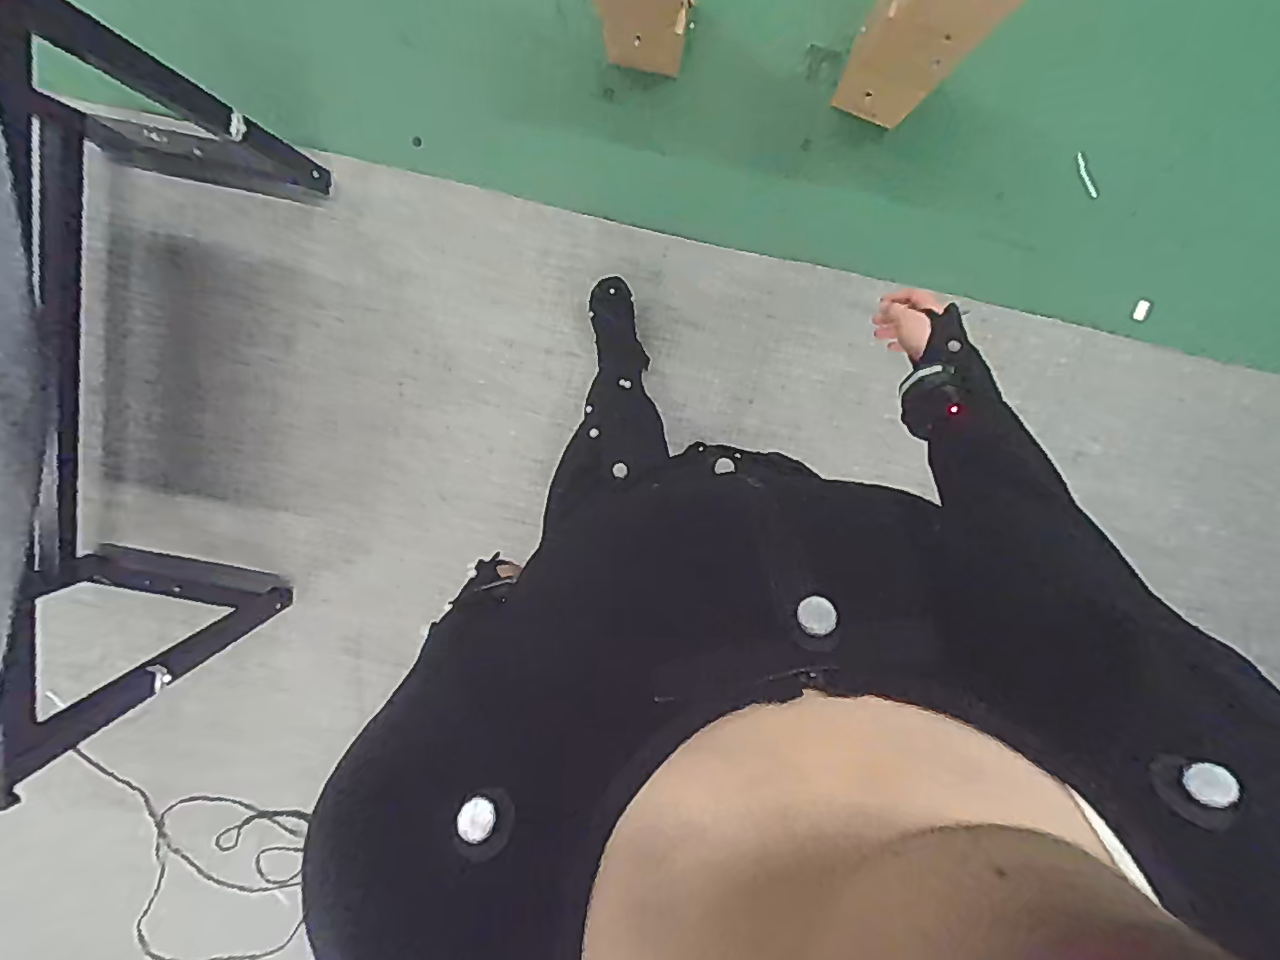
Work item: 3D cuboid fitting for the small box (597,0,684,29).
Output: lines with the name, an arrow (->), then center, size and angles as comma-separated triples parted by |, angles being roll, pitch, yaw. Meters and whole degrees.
small box -> 0.011, -1.016, 1.035 | 0.179, 0.176, 0.168 | 13, 102, -3

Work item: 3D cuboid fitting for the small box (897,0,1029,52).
small box -> 0.560, -0.873, 0.896 | 0.168, 0.176, 0.179 | 15, 100, -4

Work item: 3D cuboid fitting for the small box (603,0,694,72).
small box -> 0.023, -1.046, 1.194 | 0.179, 0.176, 0.168 | 11, 102, -2

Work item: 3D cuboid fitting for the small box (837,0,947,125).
small box -> 0.567, -0.944, 1.217 | 0.168, 0.176, 0.179 | 19, 100, -4
